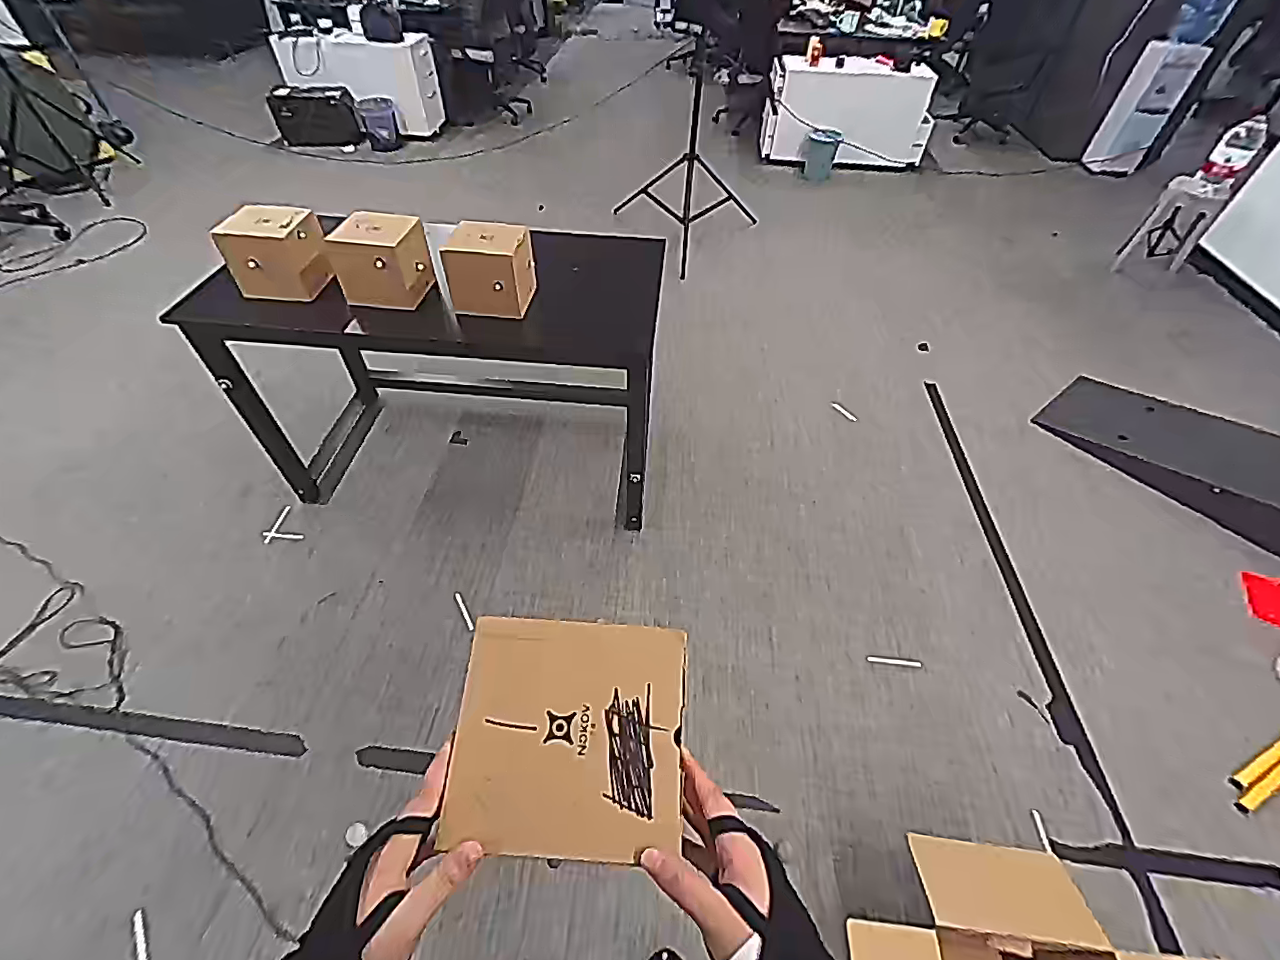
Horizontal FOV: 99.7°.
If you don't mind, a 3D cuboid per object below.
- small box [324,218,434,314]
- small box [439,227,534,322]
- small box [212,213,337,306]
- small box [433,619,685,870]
[{"bbox_3d":[-0.647,-0.540,1.370,0.179,0.176,0.168,6,48,3],"label":"small box"},{"bbox_3d":[-0.375,-0.513,1.358,0.179,0.176,0.168,4,47,3],"label":"small box"},{"bbox_3d":[-0.919,-0.561,1.380,0.179,0.176,0.168,3,48,1],"label":"small box"},{"bbox_3d":[-0.057,0.229,0.485,0.179,0.176,0.168,3,63,0],"label":"small box"}]
